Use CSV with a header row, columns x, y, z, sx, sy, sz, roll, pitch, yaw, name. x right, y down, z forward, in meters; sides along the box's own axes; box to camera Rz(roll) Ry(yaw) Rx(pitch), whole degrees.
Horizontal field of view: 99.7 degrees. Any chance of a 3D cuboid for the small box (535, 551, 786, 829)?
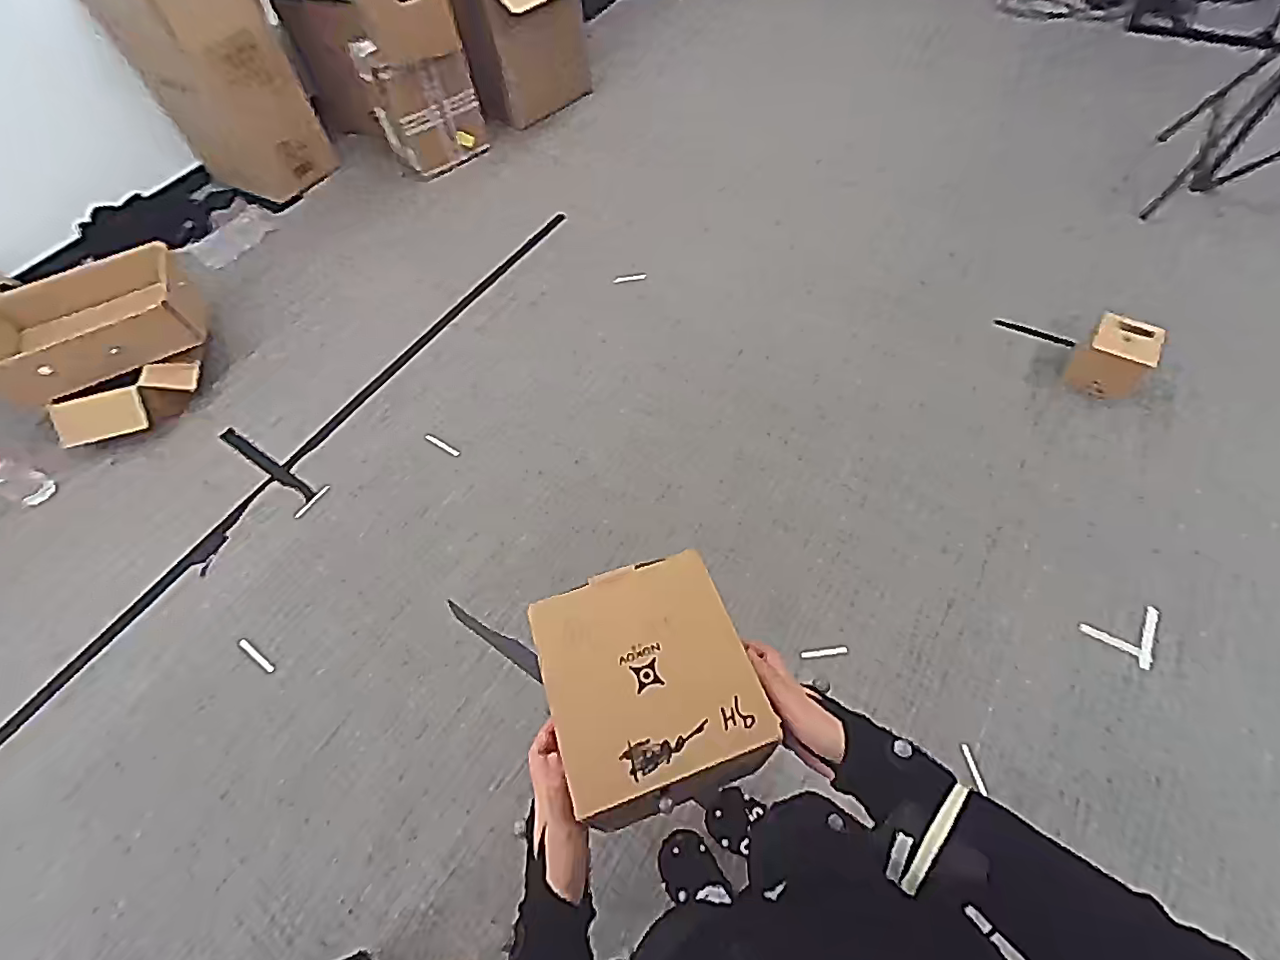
x,y,z,sx,sy,sz,roll,pitch,yaw,name
0.012,0.199,0.506,0.168,0.176,0.179,-17,55,-8,small box
